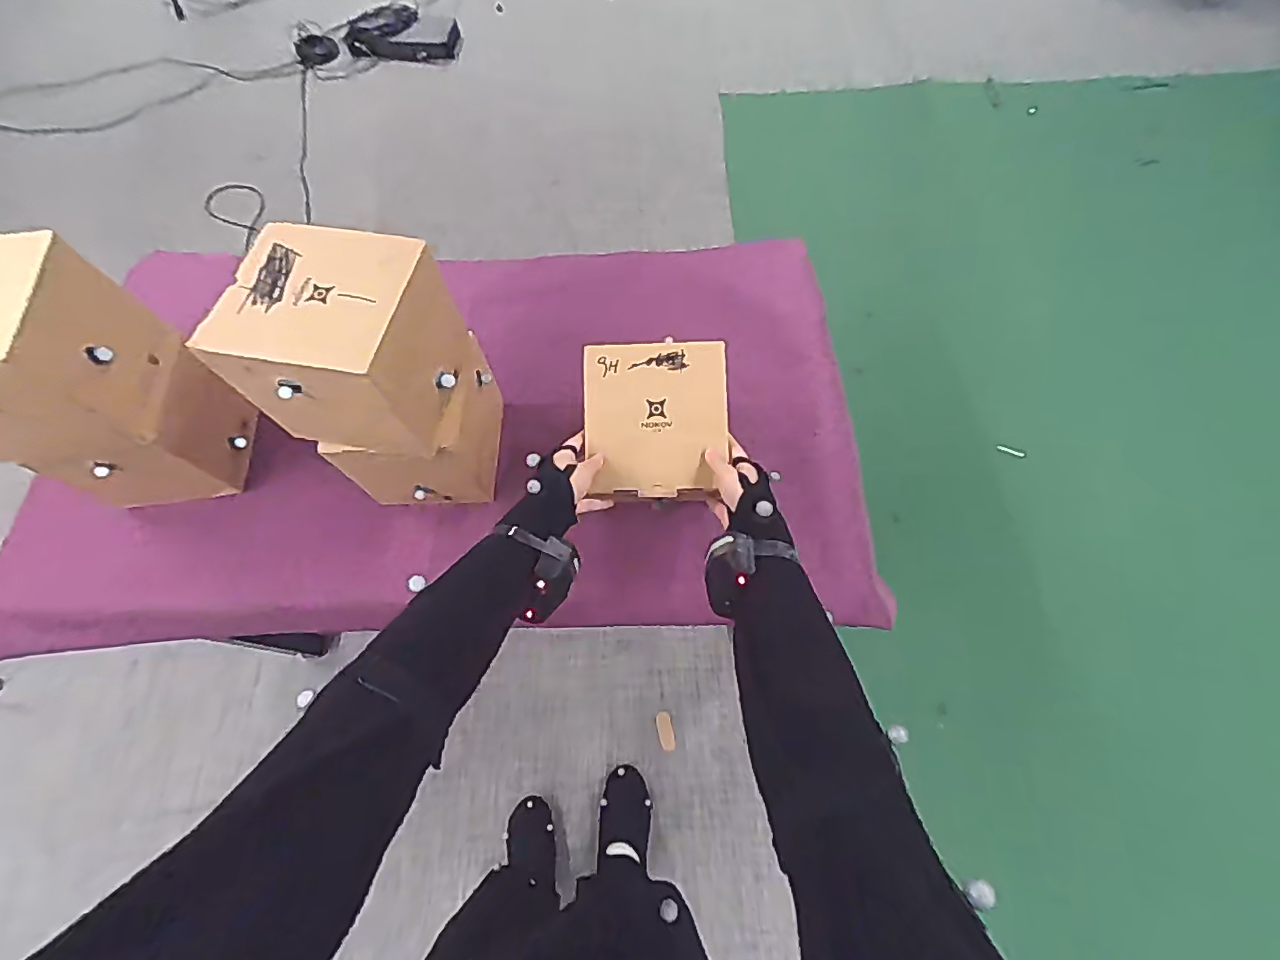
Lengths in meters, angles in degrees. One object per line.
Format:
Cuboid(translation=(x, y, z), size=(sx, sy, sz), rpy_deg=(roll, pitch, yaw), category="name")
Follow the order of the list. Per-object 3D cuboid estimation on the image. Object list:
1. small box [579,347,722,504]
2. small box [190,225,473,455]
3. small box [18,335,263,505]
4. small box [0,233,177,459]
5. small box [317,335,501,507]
Cuboid(translation=(0.016, -0.059, 0.694), size=(0.168, 0.176, 0.179), rpy_deg=(0, 84, 2), category="small box")
Cuboid(translation=(-0.308, -0.143, 0.587), size=(0.179, 0.176, 0.168), rpy_deg=(9, 66, 5), category="small box")
Cuboid(translation=(-0.672, -0.074, 0.744), size=(0.179, 0.176, 0.168), rpy_deg=(-6, 66, -2), category="small box")
Cuboid(translation=(-0.670, -0.137, 0.595), size=(0.179, 0.176, 0.168), rpy_deg=(-8, 67, -2), category="small box")
Cuboid(translation=(-0.295, -0.076, 0.737), size=(0.168, 0.176, 0.179), rpy_deg=(-1, 65, 1), category="small box")
